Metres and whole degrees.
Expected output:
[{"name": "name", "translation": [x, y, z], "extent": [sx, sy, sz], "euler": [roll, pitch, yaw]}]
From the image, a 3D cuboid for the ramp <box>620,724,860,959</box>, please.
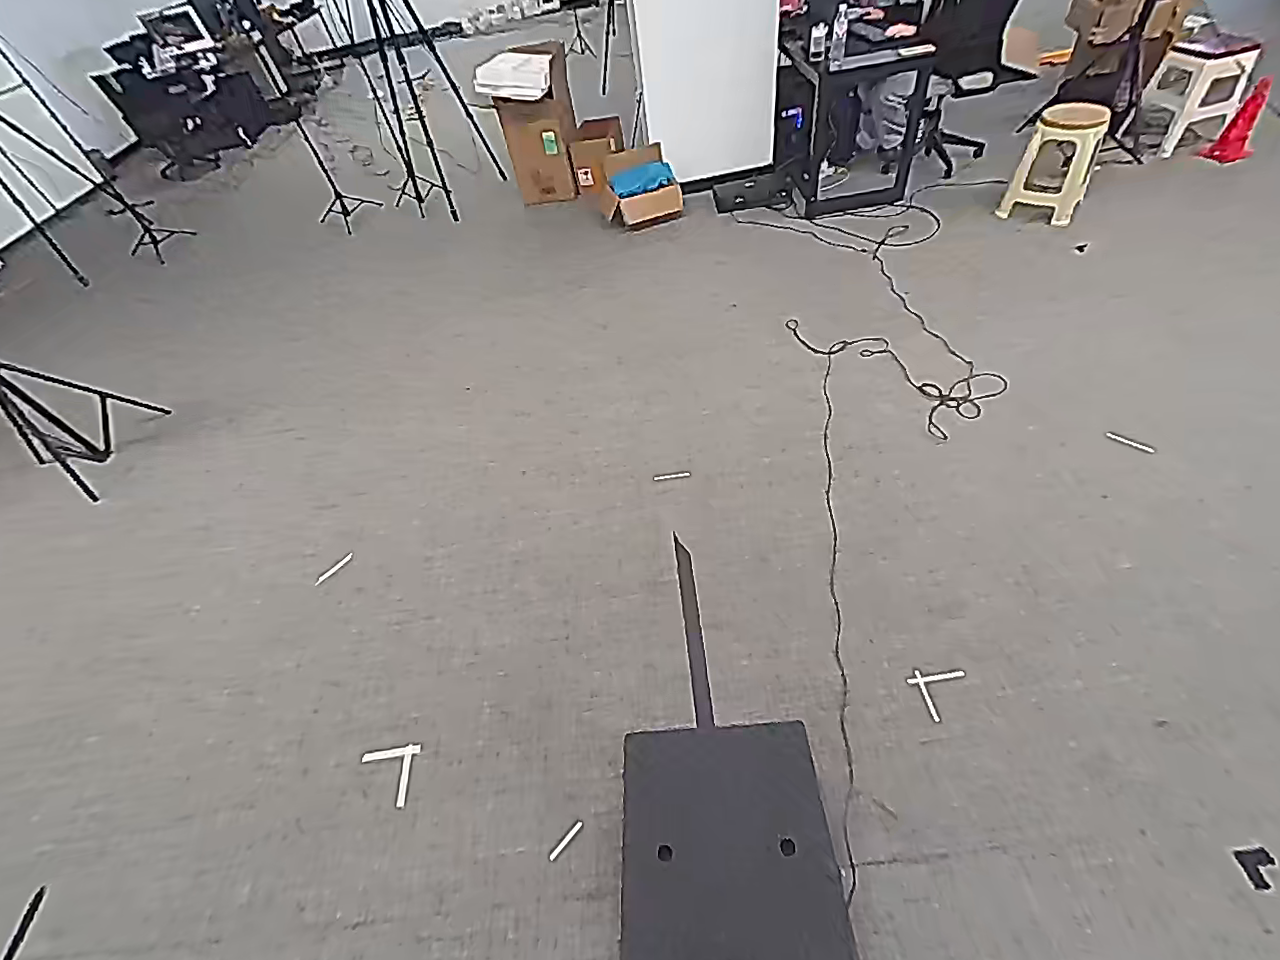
[{"name": "ramp", "translation": [0.198, 1.000, 1.092], "extent": [0.509, 0.206, 0.991], "euler": [-9, 48, 5]}]
